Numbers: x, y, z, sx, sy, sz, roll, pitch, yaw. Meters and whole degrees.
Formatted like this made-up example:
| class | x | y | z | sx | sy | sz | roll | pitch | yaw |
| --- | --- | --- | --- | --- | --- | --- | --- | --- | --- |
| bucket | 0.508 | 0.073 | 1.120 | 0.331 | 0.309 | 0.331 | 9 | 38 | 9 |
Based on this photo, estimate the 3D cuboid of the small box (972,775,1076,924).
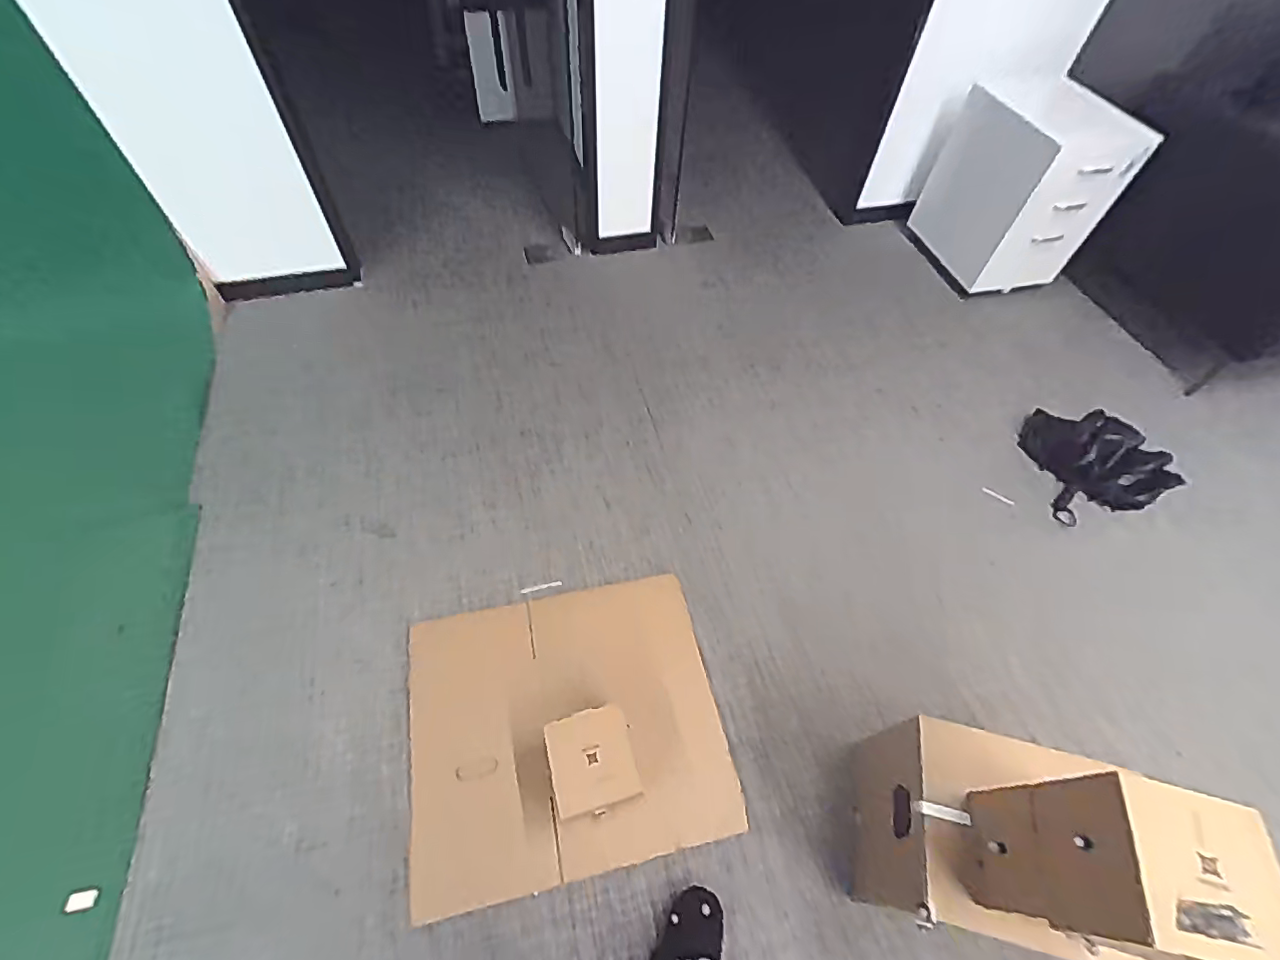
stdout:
| class | x | y | z | sx | sy | sz | roll | pitch | yaw |
| --- | --- | --- | --- | --- | --- | --- | --- | --- | --- |
| small box | 0.639 | 0.568 | 0.823 | 0.179 | 0.176 | 0.168 | 9 | 54 | 3 |

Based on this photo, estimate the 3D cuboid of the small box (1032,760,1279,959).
| class | x | y | z | sx | sy | sz | roll | pitch | yaw |
| --- | --- | --- | --- | --- | --- | --- | --- | --- | --- |
| small box | 0.638 | 0.480 | 0.681 | 0.168 | 0.176 | 0.179 | 14 | 55 | 6 |

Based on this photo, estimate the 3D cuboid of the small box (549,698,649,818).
| class | x | y | z | sx | sy | sz | roll | pitch | yaw |
| --- | --- | --- | --- | --- | --- | --- | --- | --- | --- |
| small box | -0.084 | 0.584 | 1.132 | 0.168 | 0.176 | 0.179 | -16 | 58 | -8 |
